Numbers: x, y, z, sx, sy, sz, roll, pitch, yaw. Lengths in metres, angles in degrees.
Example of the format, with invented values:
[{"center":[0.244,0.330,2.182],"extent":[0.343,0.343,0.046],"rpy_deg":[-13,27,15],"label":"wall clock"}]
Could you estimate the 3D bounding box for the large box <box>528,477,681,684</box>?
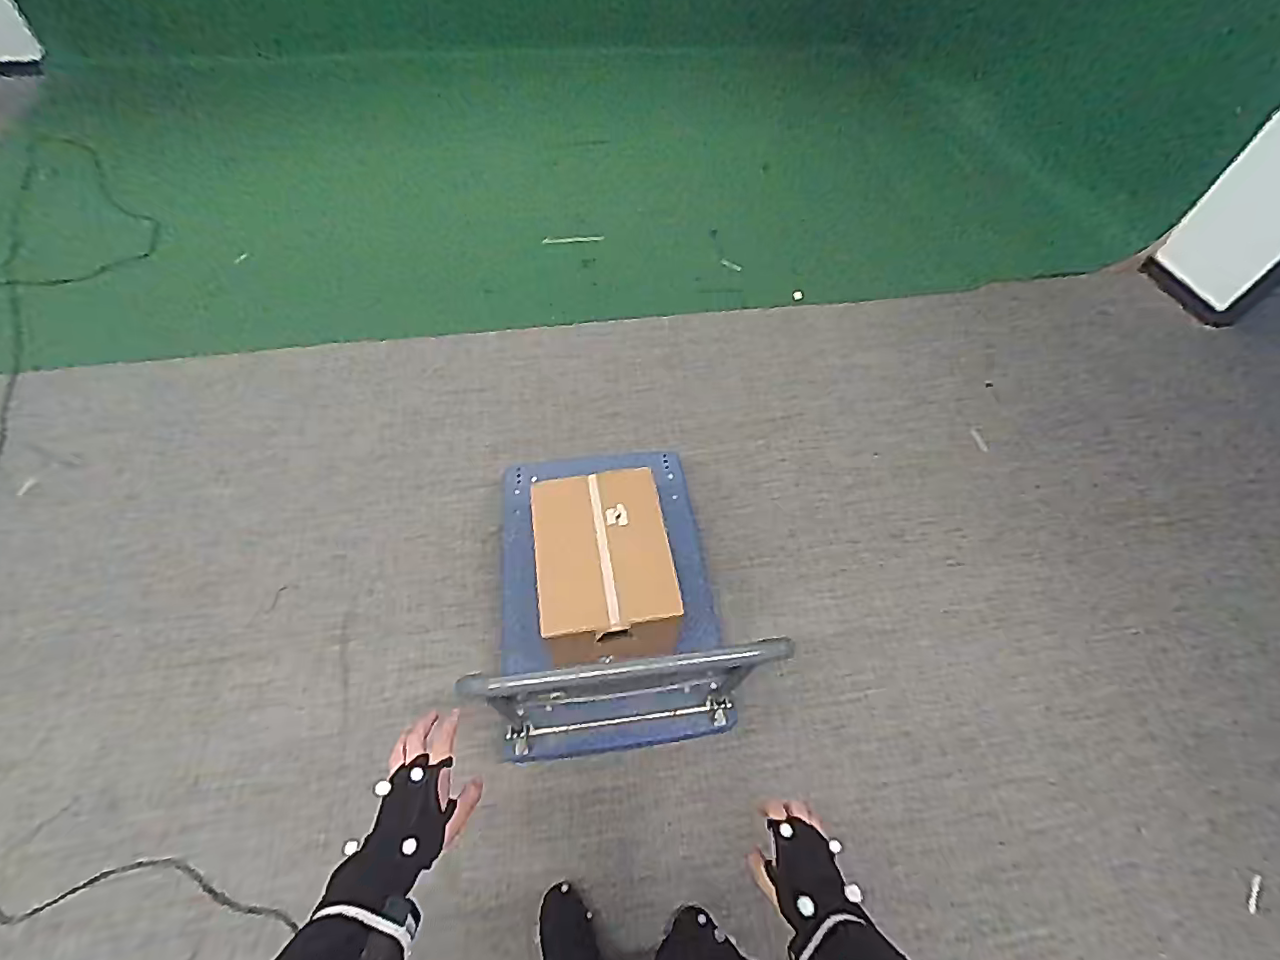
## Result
[{"center":[-0.098,0.258,1.394],"extent":[0.320,0.320,0.408],"rpy_deg":[-8,55,-7],"label":"large box"}]
